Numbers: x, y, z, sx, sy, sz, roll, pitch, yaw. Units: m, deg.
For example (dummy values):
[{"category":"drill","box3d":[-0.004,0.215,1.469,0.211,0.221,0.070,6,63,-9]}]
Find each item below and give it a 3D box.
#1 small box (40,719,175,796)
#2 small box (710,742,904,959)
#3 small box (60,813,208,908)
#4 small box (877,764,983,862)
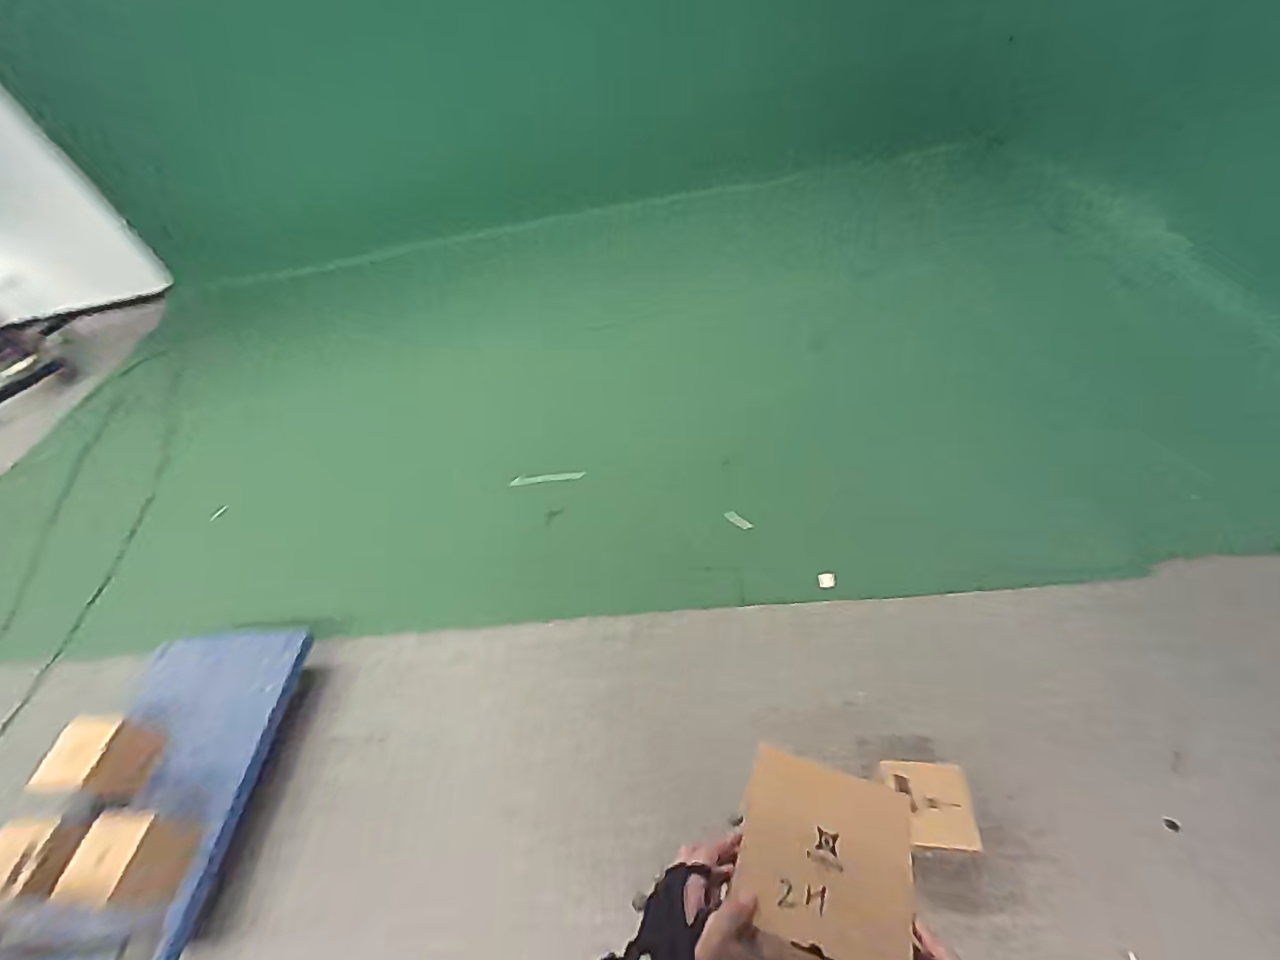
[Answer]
[{"category":"small box","box3d":[-1.507,0.796,1.544,0.179,0.176,0.168,-5,49,9]},{"category":"small box","box3d":[0.179,0.436,0.597,0.168,0.176,0.179,13,40,16]},{"category":"small box","box3d":[-1.241,0.948,1.344,0.168,0.176,0.179,-4,49,11]},{"category":"small box","box3d":[0.661,0.779,1.260,0.179,0.176,0.168,-2,51,12]}]
